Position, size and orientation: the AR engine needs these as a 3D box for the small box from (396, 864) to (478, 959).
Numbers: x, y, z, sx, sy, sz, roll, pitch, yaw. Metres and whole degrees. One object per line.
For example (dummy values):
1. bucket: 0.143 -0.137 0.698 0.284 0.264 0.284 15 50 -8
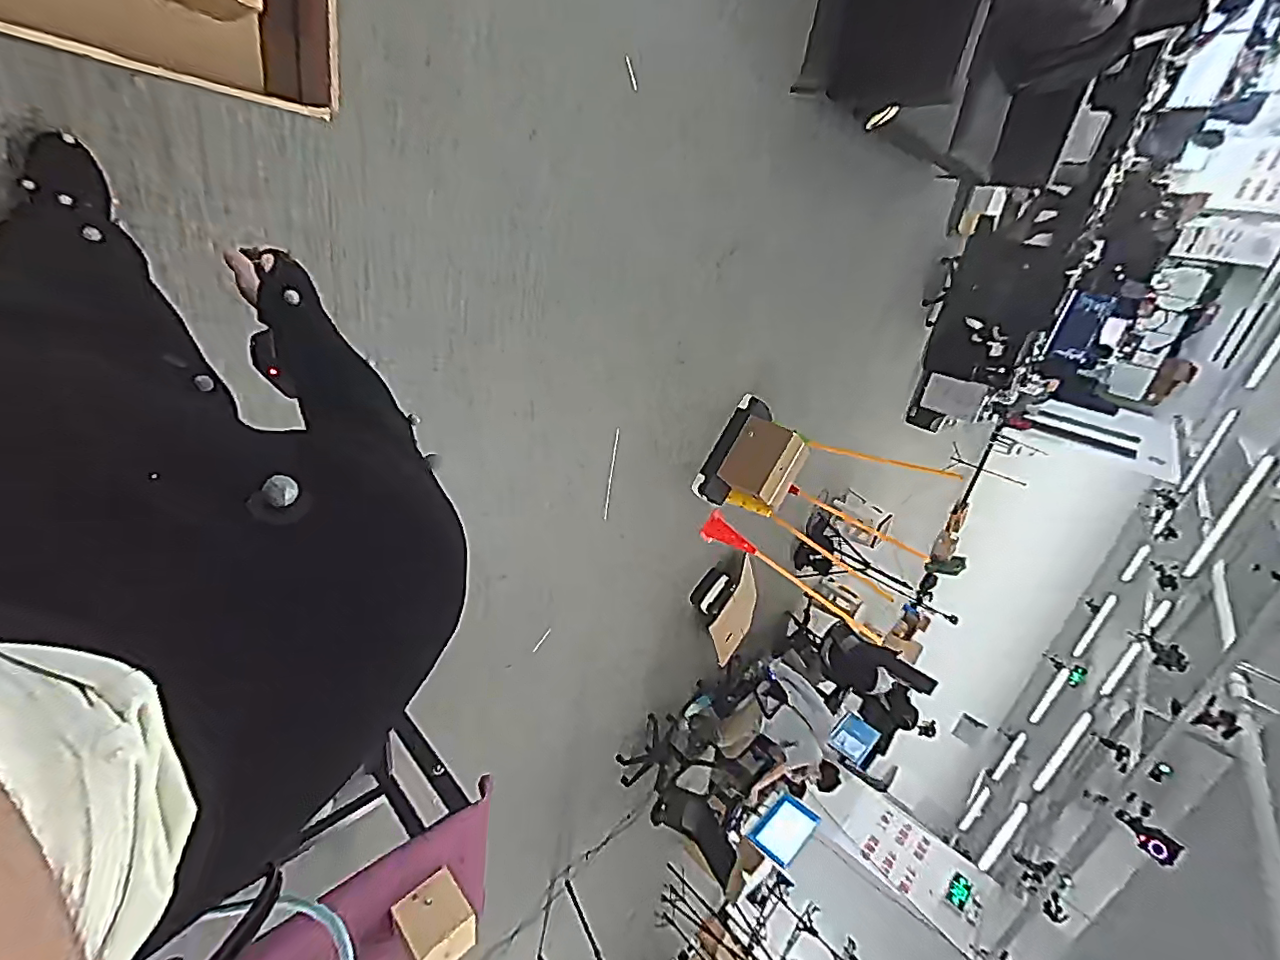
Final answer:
1. small box: -0.582 1.262 1.552 0.168 0.176 0.179 -20 128 -43
